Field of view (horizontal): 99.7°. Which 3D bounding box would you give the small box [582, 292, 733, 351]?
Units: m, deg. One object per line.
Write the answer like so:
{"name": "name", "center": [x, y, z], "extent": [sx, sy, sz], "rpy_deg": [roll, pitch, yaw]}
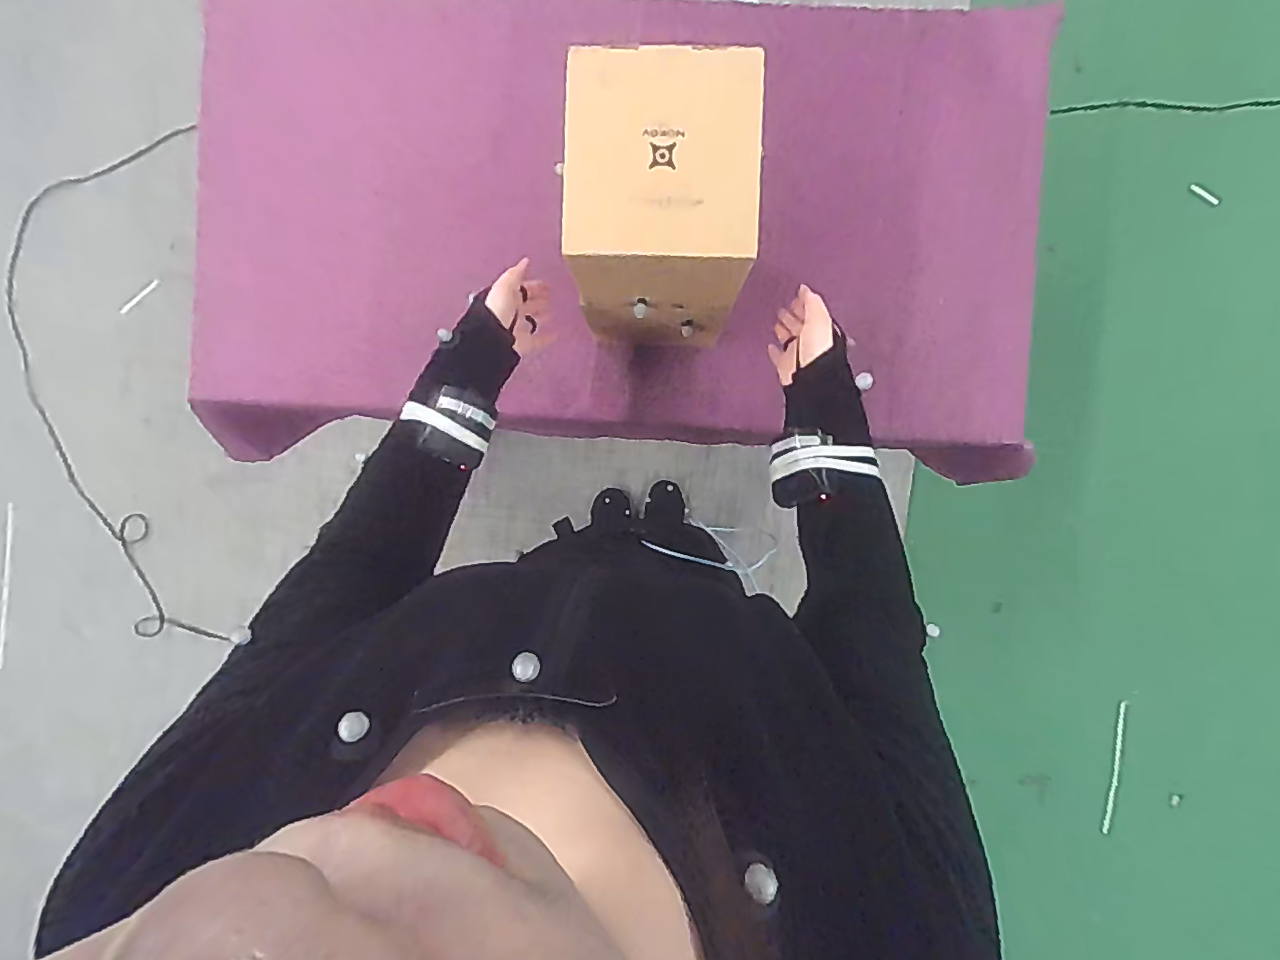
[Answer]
{"name": "small box", "center": [0.025, -0.269, 0.701], "extent": [0.179, 0.176, 0.168], "rpy_deg": [4, 90, 1]}

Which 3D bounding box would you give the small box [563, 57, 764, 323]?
{"name": "small box", "center": [0.021, -0.270, 0.538], "extent": [0.168, 0.176, 0.179], "rpy_deg": [2, 91, 2]}
